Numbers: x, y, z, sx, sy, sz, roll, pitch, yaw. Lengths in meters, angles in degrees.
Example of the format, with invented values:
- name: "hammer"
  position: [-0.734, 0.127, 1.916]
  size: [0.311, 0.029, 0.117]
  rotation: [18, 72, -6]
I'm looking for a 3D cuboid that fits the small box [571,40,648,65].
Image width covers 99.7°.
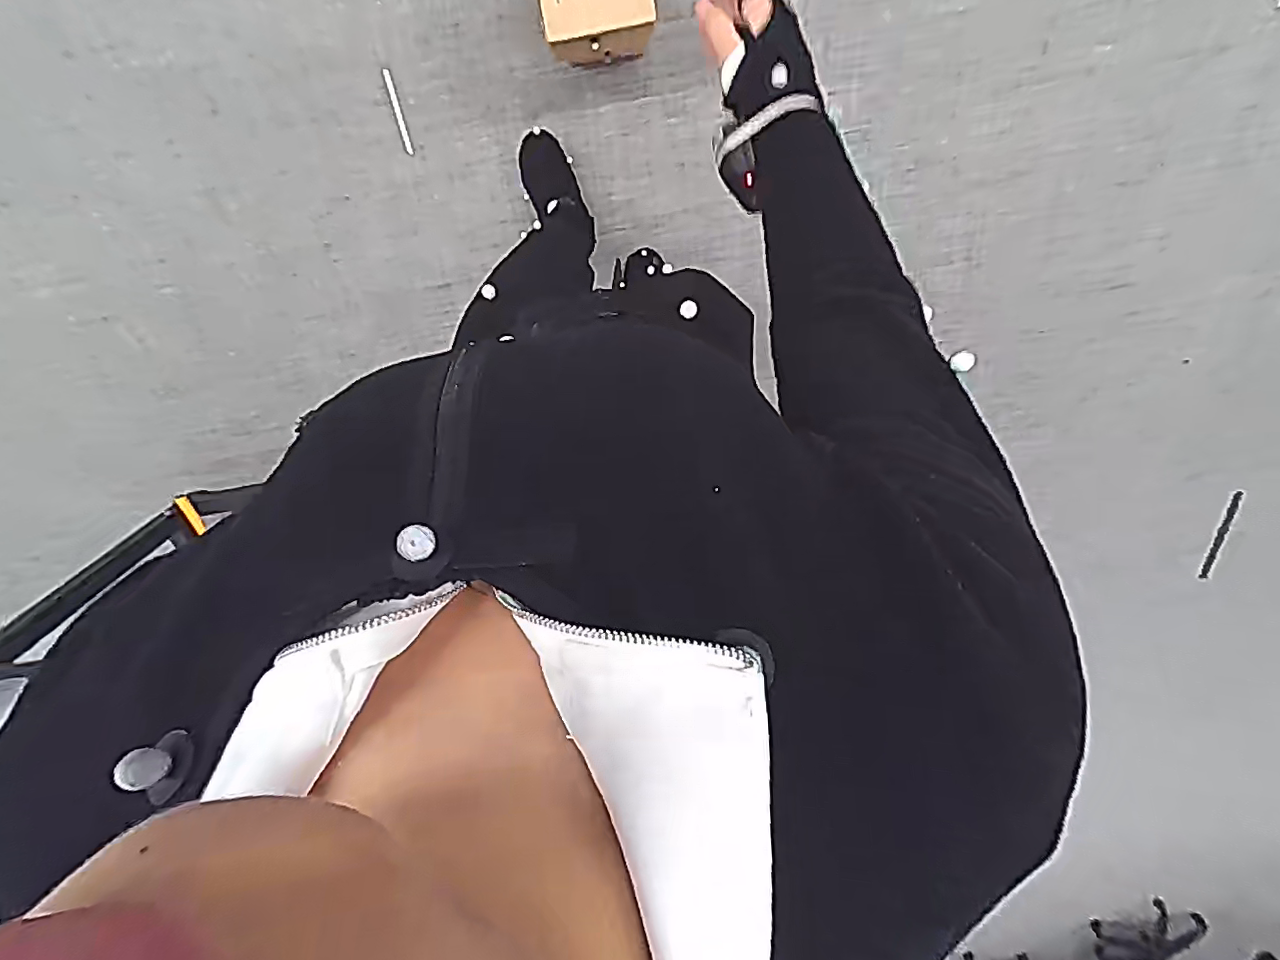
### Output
- name: "small box"
  position: [-0.075, -0.895, 1.007]
  size: [0.168, 0.176, 0.179]
  rotation: [-7, 121, 1]

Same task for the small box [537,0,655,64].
- name: "small box"
  position: [-0.076, -0.797, 0.871]
  size: [0.179, 0.176, 0.168]
  rotation: [-9, 120, 2]
